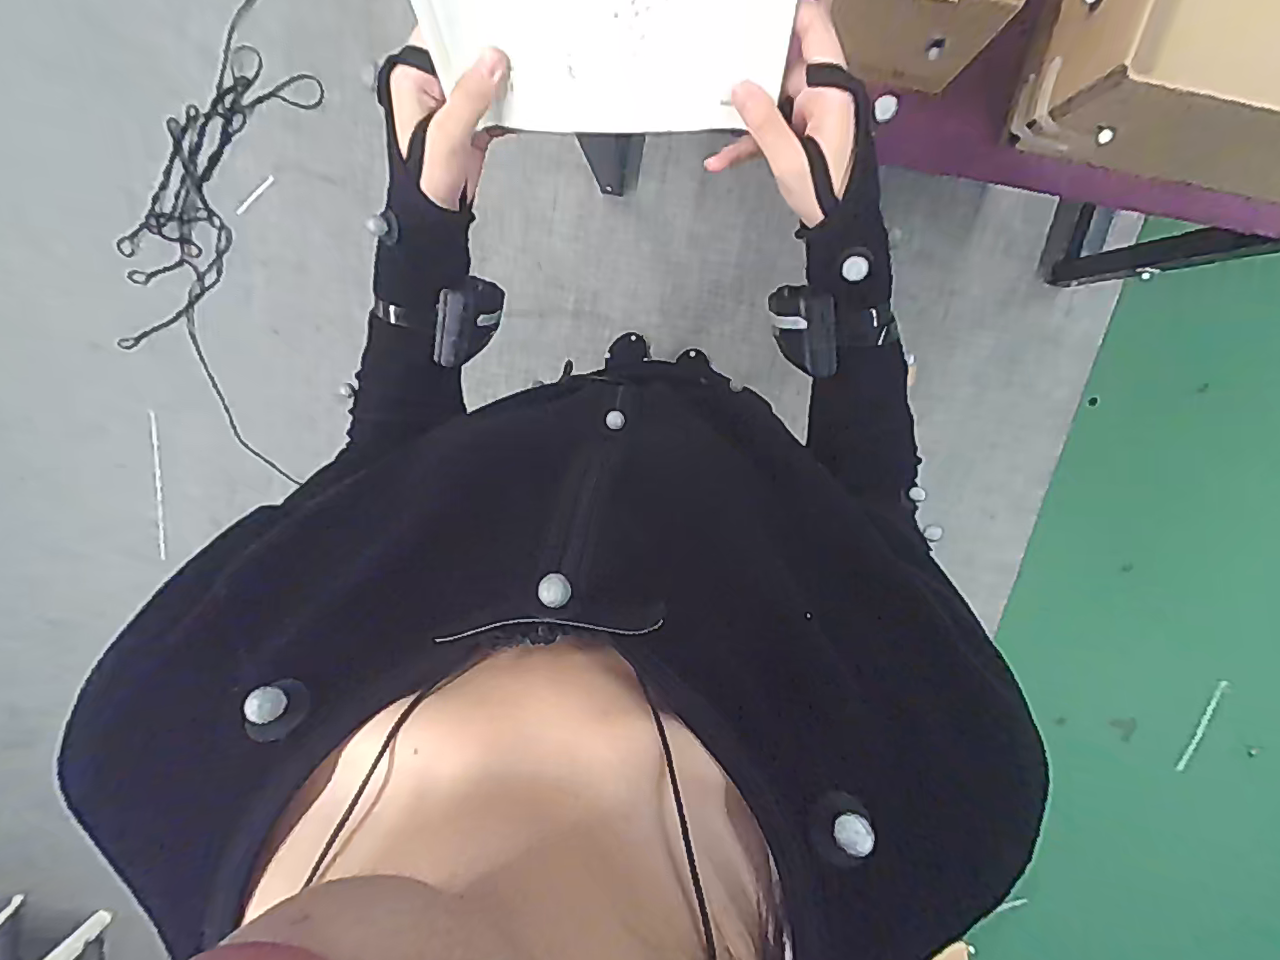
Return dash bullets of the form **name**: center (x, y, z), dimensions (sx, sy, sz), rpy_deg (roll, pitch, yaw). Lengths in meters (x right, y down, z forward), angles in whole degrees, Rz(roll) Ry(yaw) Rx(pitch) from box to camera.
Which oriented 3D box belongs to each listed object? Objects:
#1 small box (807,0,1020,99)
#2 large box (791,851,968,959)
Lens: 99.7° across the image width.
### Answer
- **small box**: center (0.284, -0.532, 0.552), dimensions (0.168, 0.176, 0.179), rpy_deg (12, 101, 0)
- **large box**: center (0.692, 1.376, 1.620), dimensions (0.408, 0.320, 0.320), rpy_deg (-4, 103, 3)
